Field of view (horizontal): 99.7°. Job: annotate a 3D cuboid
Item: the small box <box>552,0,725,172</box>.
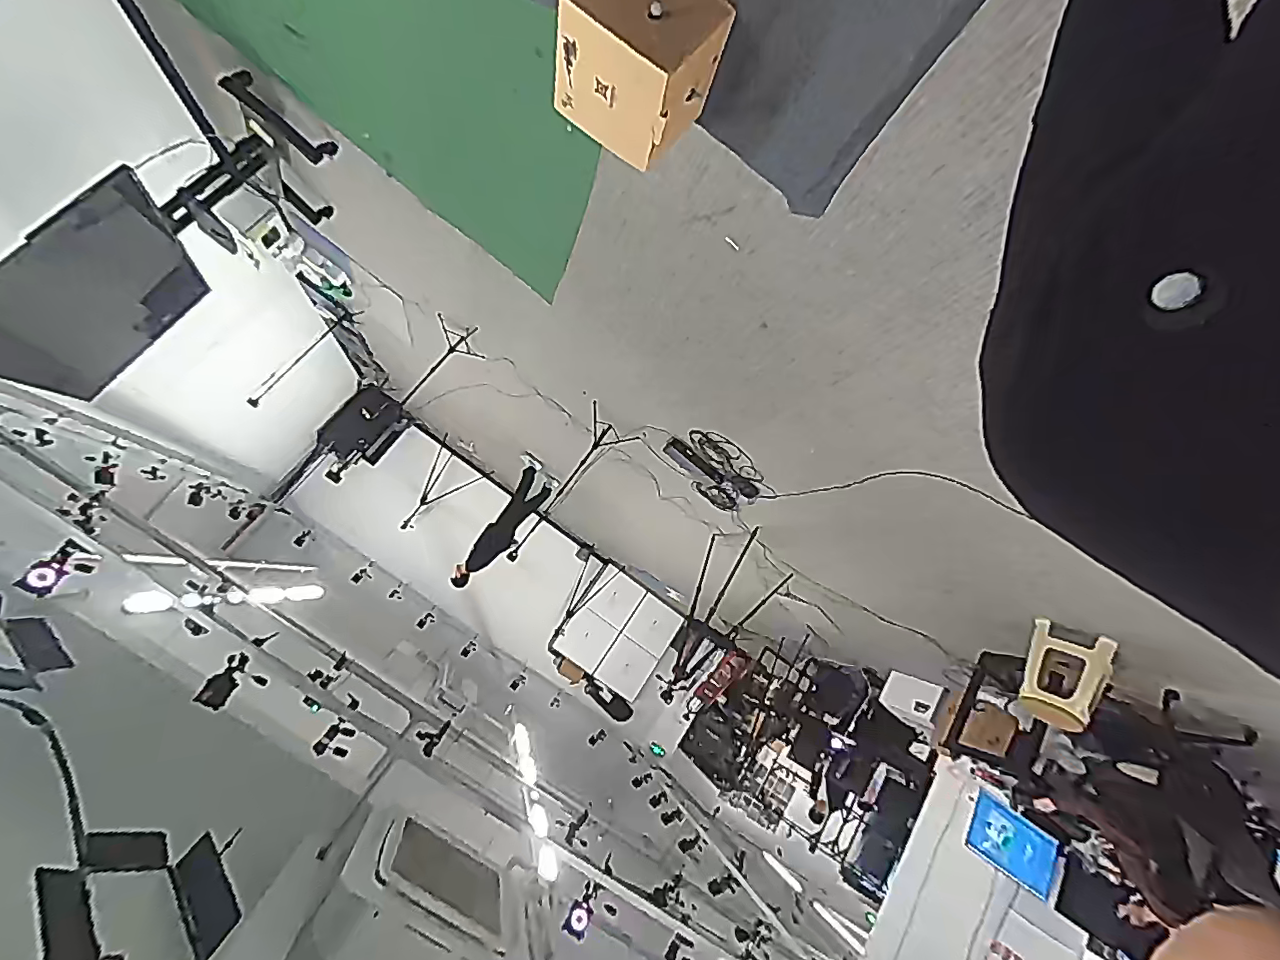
[{"bbox_3d":[-0.006,-0.603,0.777,0.179,0.176,0.168,35,163,-2],"label":"small box"}]
